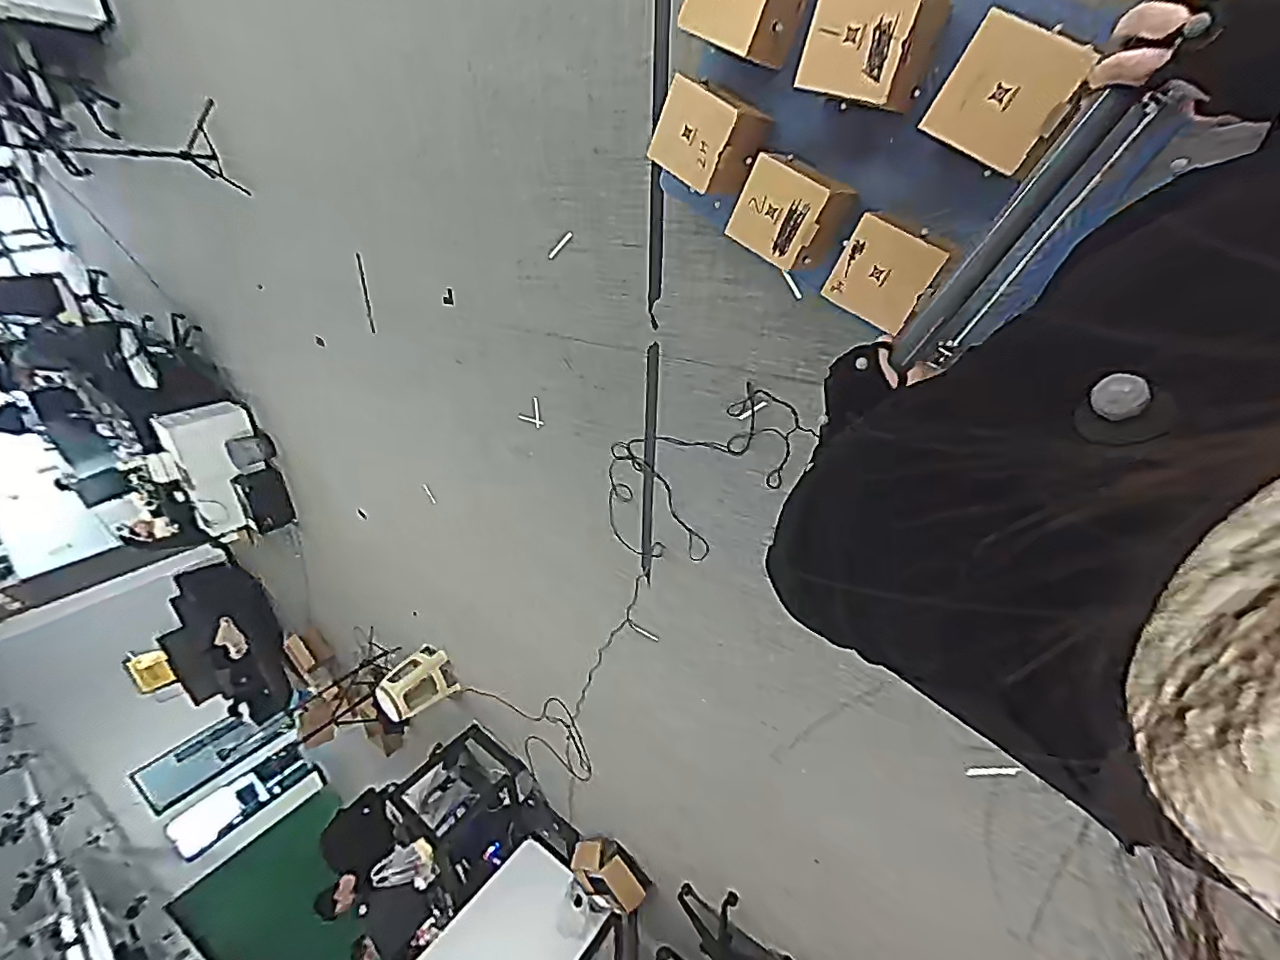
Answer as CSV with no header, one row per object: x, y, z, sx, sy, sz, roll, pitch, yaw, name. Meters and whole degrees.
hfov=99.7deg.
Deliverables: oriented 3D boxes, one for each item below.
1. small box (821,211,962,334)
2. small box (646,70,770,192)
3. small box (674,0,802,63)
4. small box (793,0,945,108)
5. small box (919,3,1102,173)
0.500,-0.417,1.069,0.179,0.176,0.168,38,130,18,small box
0.150,-0.753,1.184,0.179,0.176,0.168,42,133,14,small box
0.203,-0.935,1.044,0.179,0.176,0.168,39,132,18,small box
0.407,-0.776,0.958,0.179,0.176,0.168,32,130,25,small box
0.600,-0.624,0.879,0.179,0.176,0.168,42,132,16,small box
